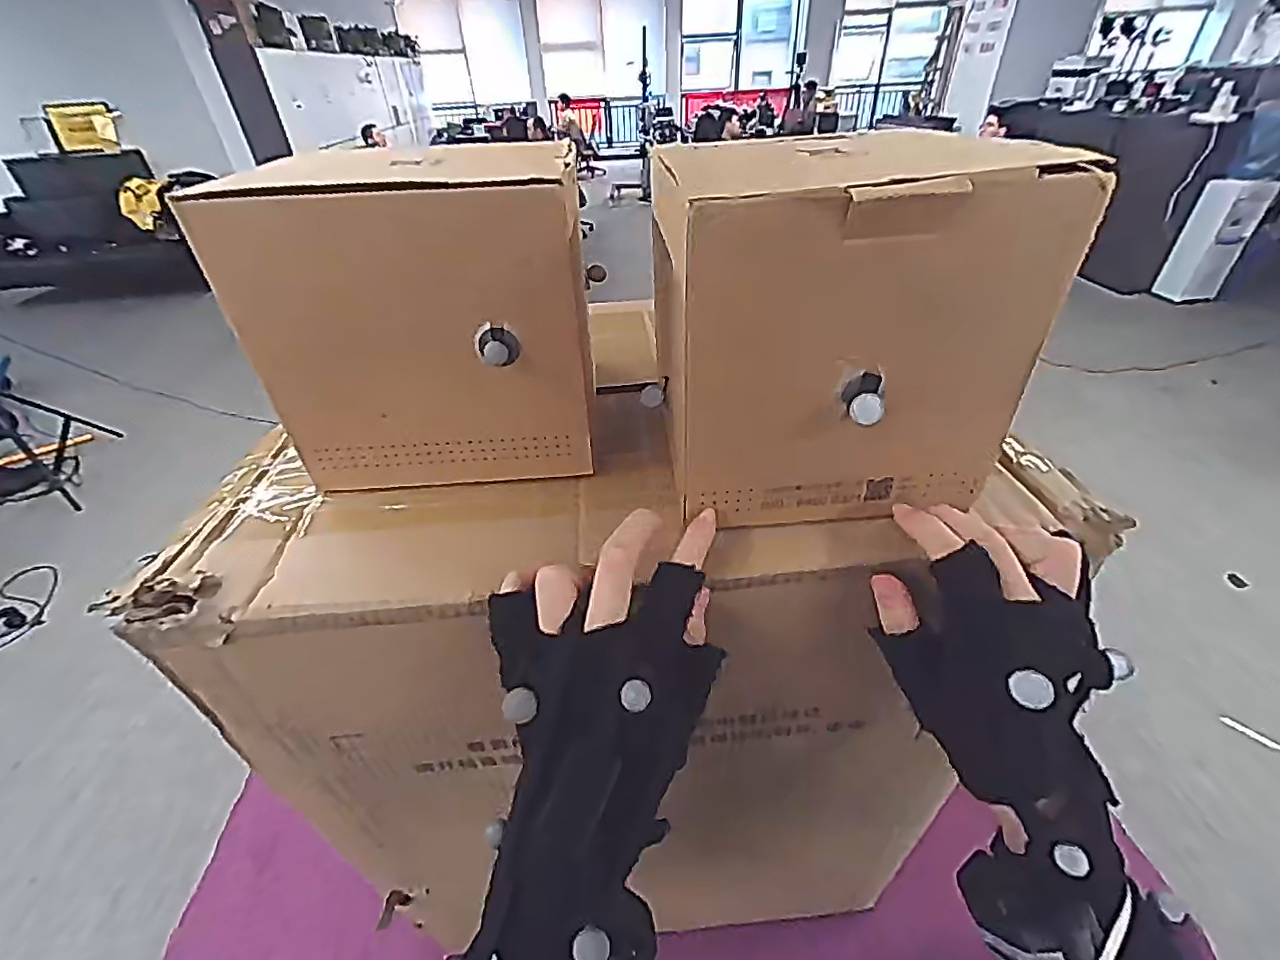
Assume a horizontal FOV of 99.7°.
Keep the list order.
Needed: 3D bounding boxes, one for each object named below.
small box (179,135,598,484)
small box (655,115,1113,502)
[{"bbox_3d":[-0.118,-0.113,0.349,0.179,0.176,0.168,-5,36,-2],"label":"small box"},{"bbox_3d":[0.100,-0.099,0.317,0.168,0.176,0.179,-5,37,0],"label":"small box"}]
